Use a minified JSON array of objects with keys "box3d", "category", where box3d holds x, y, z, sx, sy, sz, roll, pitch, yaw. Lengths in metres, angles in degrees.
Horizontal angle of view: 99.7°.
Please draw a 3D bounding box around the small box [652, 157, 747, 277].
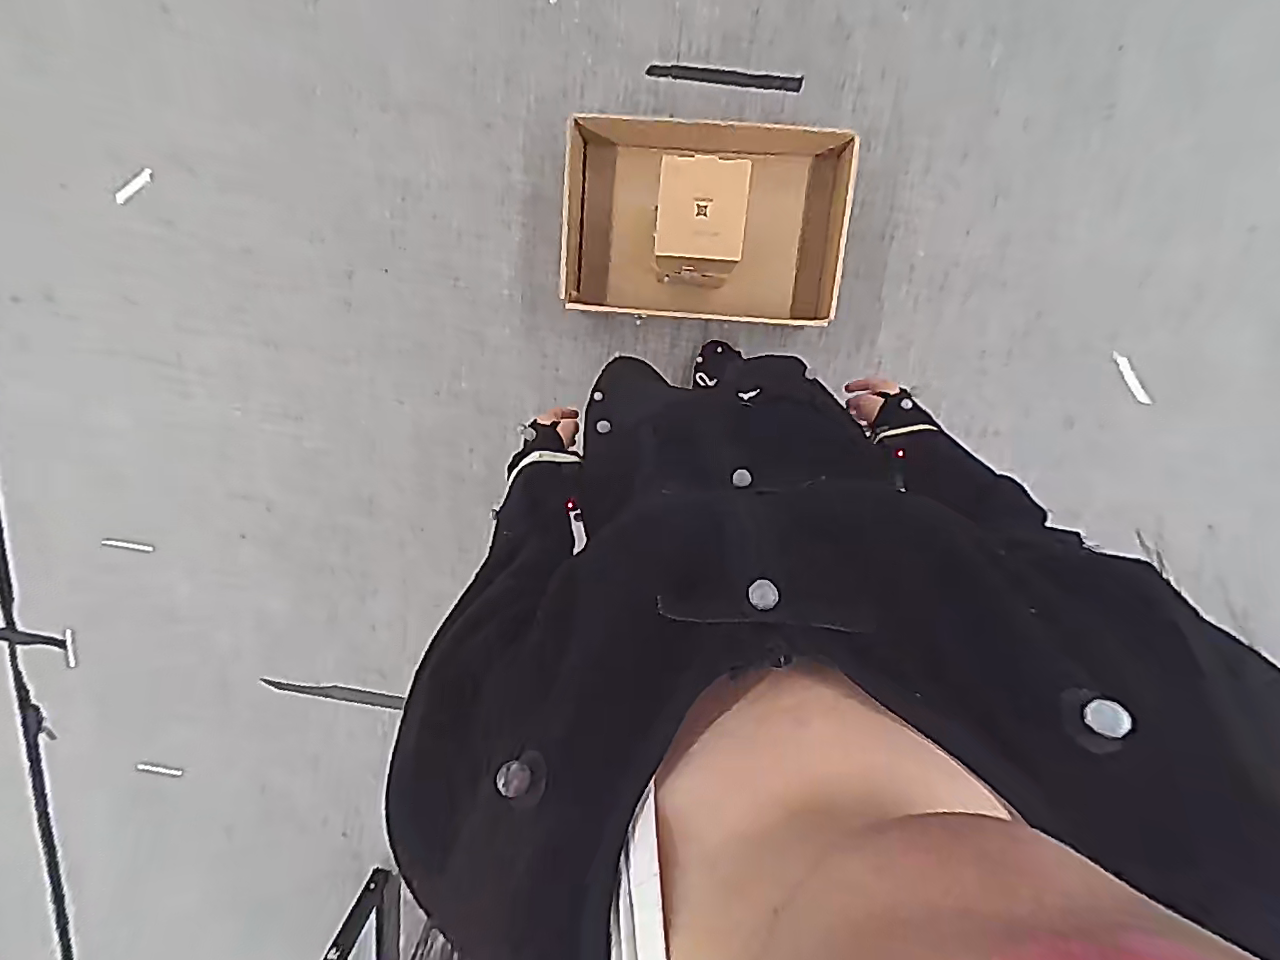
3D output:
[{"box3d":[0.113,-0.517,1.083,0.168,0.176,0.179,5,103,3],"category":"small box"}]
